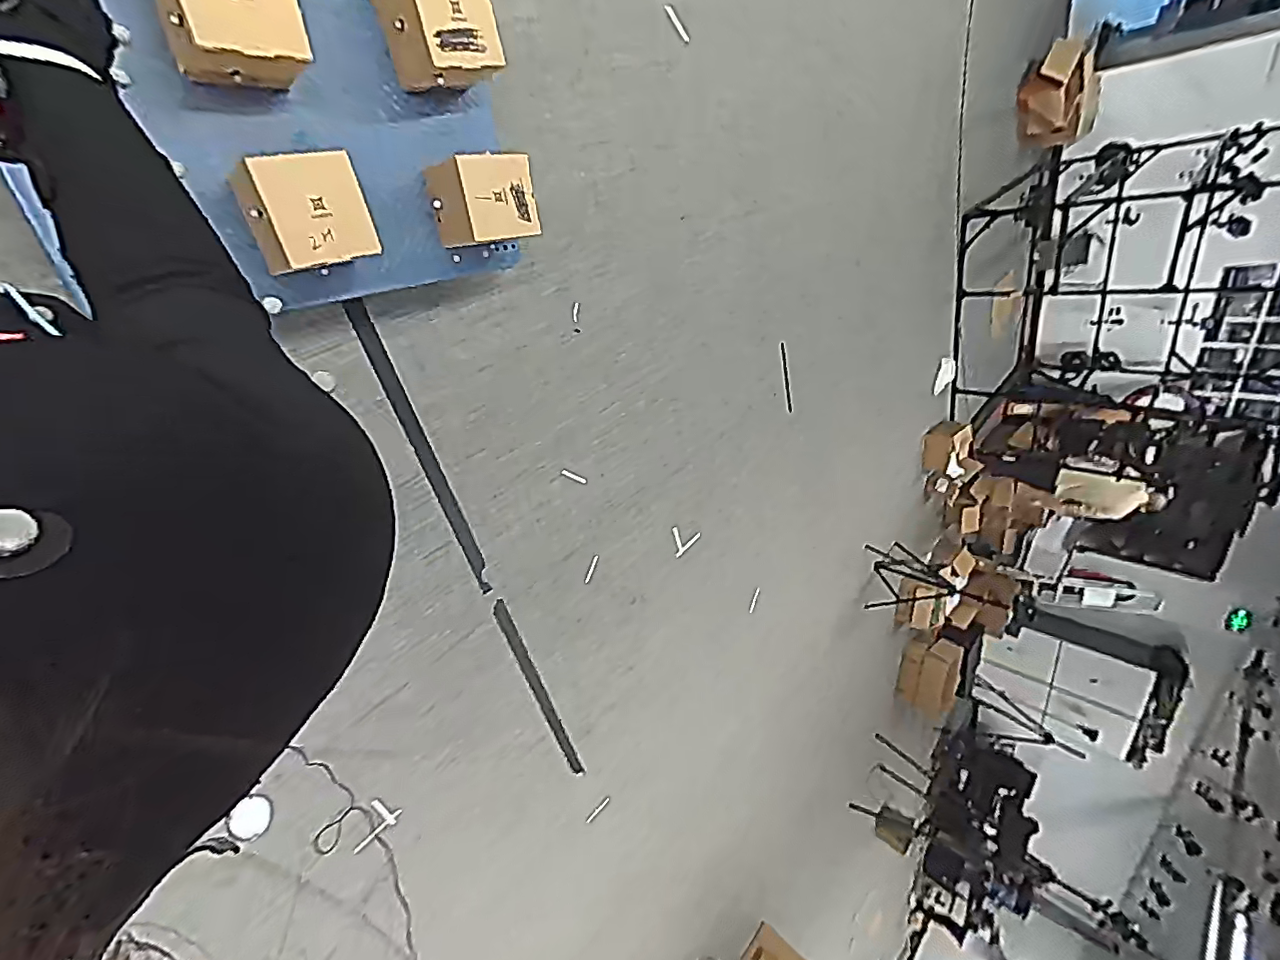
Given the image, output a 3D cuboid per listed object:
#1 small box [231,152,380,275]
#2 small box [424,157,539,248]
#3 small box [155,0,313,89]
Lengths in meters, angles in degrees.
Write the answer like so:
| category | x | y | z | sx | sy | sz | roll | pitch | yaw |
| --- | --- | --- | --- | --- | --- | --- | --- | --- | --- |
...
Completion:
| category | x | y | z | sx | sy | sz | roll | pitch | yaw |
| --- | --- | --- | --- | --- | --- | --- | --- | --- | --- |
| small box | -0.626 | -0.493 | 1.011 | 0.168 | 0.176 | 0.179 | -31 | 123 | -35 |
| small box | -0.362 | -0.632 | 1.237 | 0.179 | 0.176 | 0.168 | -27 | 120 | -36 |
| small box | -0.673 | -0.770 | 0.880 | 0.168 | 0.176 | 0.179 | -27 | 122 | -38 |
